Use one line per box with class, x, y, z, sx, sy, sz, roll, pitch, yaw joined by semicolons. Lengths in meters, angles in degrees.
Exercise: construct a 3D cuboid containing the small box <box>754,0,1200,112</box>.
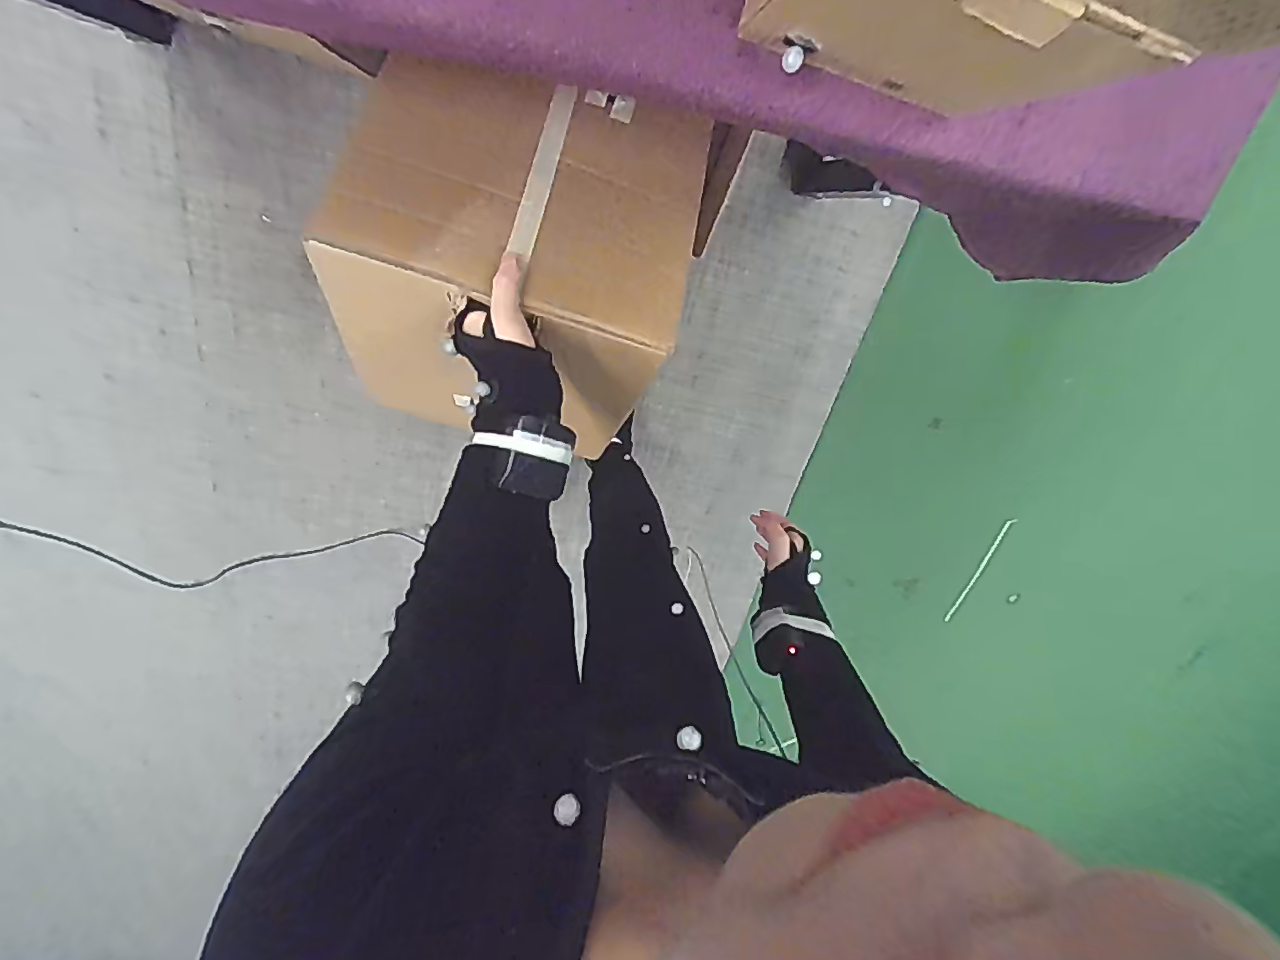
small box;0.168;-0.301;0.251;0.168;0.176;0.179;10;115;-12
